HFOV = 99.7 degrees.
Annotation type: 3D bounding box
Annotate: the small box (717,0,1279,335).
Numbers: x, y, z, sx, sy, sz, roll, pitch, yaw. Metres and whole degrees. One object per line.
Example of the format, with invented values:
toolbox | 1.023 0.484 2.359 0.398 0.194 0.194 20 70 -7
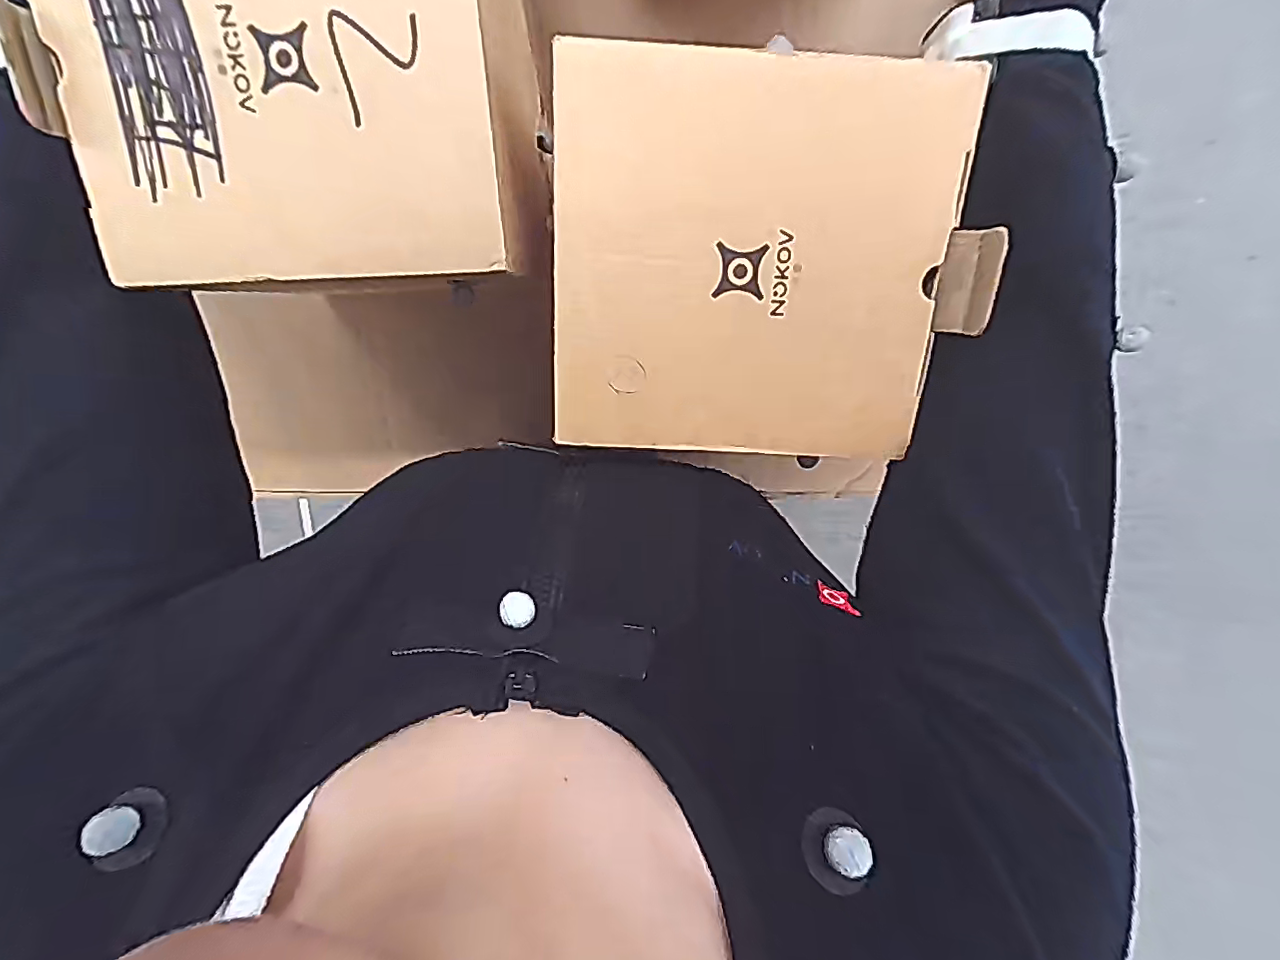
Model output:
small box | 0.152 -0.186 0.277 0.179 0.176 0.168 15 114 -5
